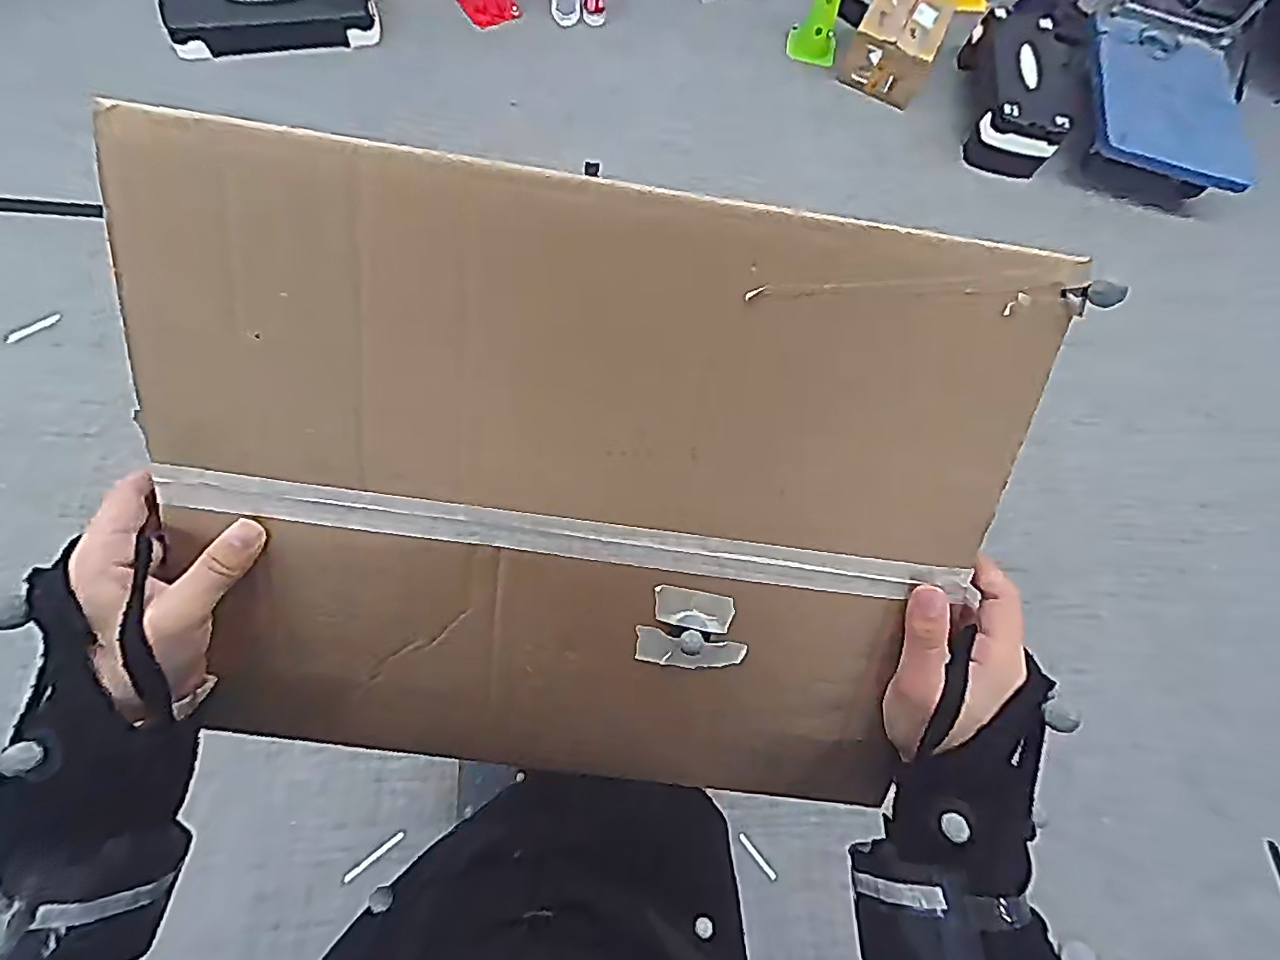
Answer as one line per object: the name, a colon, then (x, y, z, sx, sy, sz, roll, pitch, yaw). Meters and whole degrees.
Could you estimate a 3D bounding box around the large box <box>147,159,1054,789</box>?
large box: (-0.031, -0.018, 0.422, 0.408, 0.320, 0.320, 7, 111, -3)
